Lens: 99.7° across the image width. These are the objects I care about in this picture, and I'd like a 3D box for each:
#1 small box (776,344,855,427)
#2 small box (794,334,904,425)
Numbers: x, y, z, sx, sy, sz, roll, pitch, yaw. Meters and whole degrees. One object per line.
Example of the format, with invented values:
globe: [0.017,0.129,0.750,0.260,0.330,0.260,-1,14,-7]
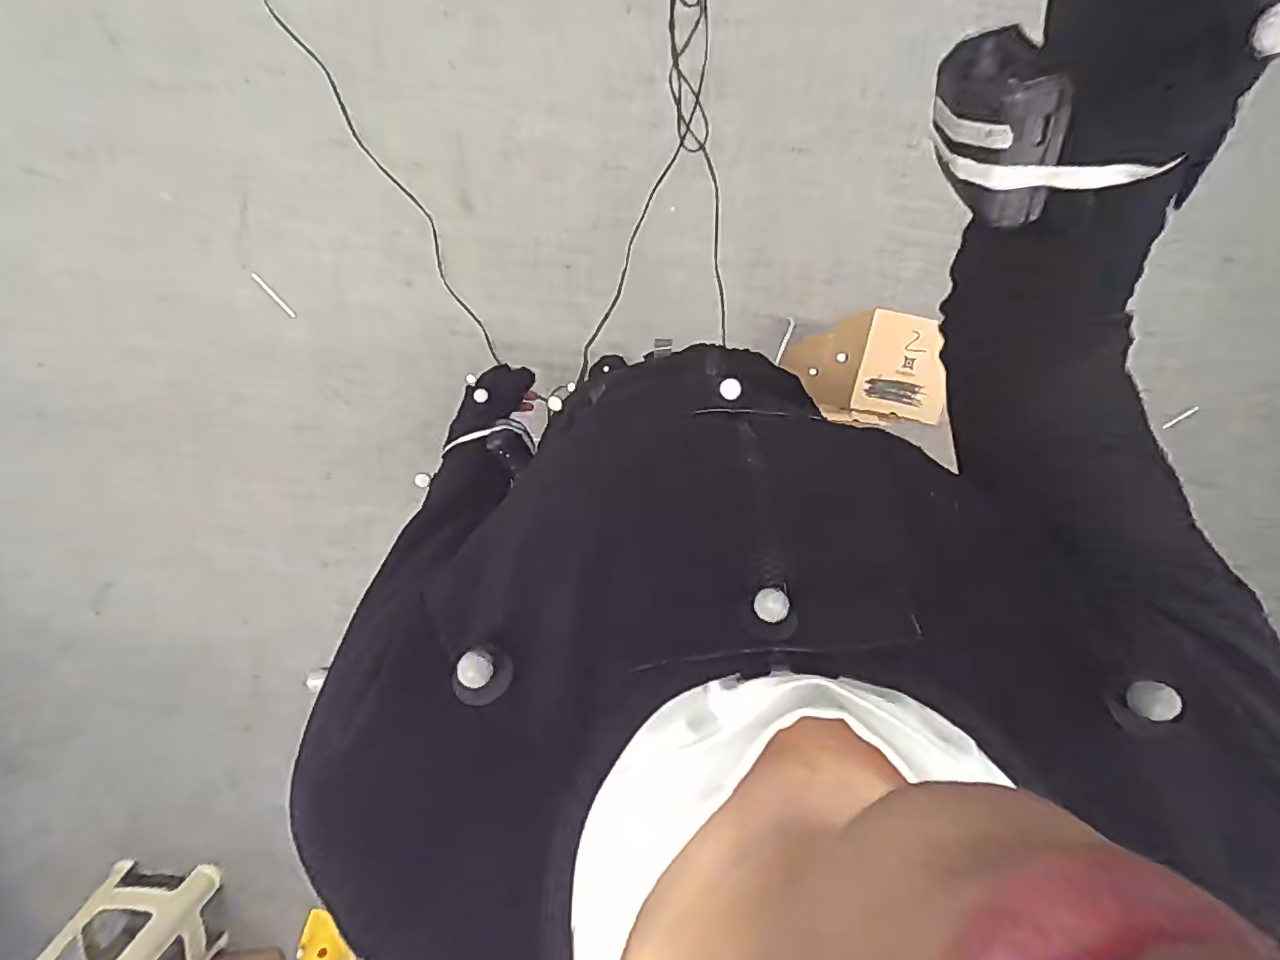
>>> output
small box: [0.451,-0.241,1.358,0.168,0.176,0.179,8,103,-3]
small box: [0.450,-0.223,1.193,0.168,0.176,0.179,5,103,-1]
